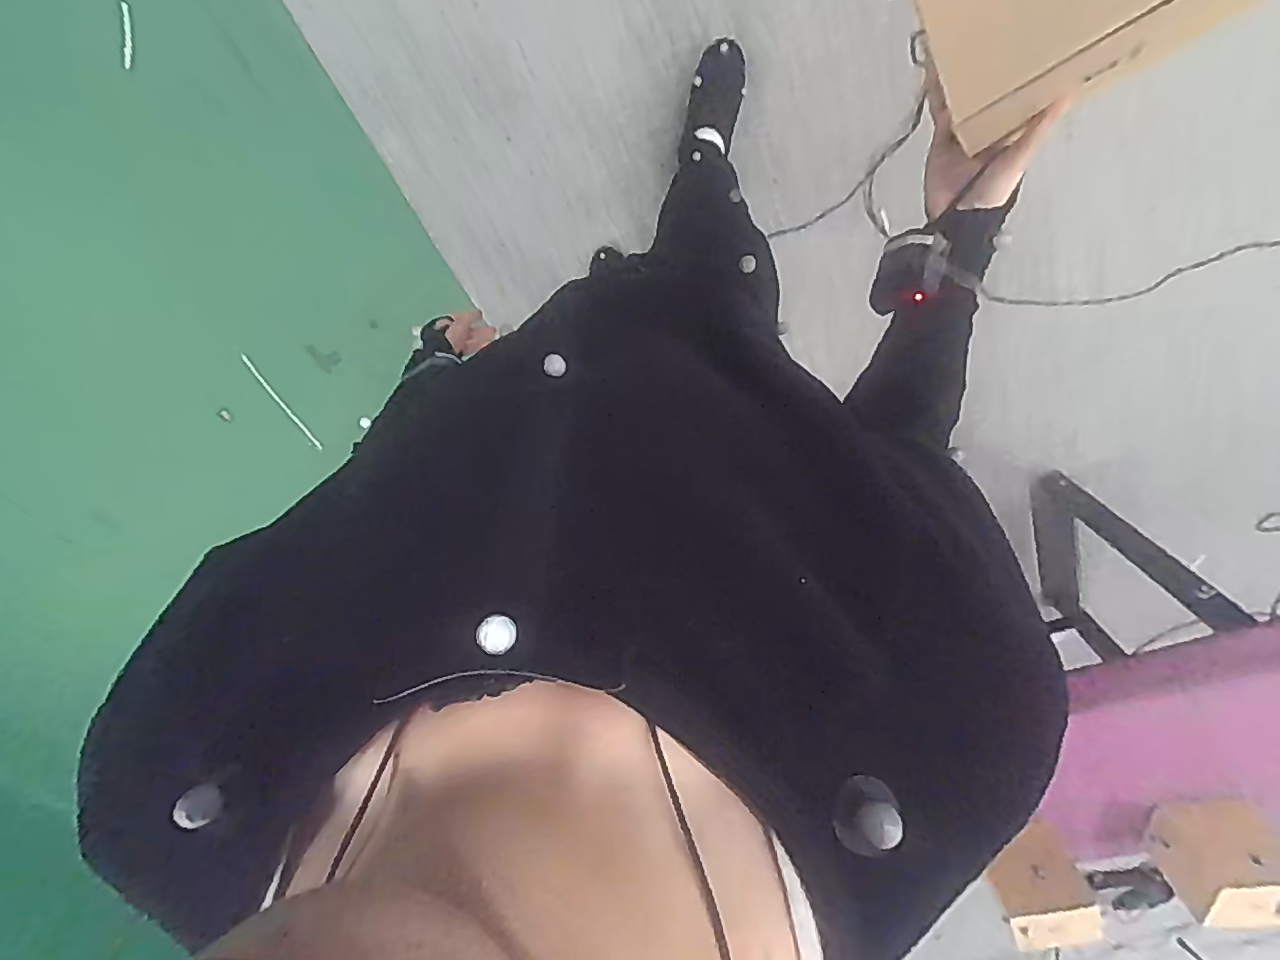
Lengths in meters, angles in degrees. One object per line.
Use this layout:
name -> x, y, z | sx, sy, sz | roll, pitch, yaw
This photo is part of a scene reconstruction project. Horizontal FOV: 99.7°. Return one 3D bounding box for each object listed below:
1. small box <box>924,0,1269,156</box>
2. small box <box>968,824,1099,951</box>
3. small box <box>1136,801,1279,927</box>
small box -> 0.285, -0.351, 0.345 | 0.179, 0.168, 0.176 | -17, 98, 38
small box -> 0.882, 0.914, 1.222 | 0.179, 0.176, 0.168 | -22, 116, 12
small box -> 1.231, 0.812, 1.153 | 0.179, 0.176, 0.168 | -9, 118, 8
